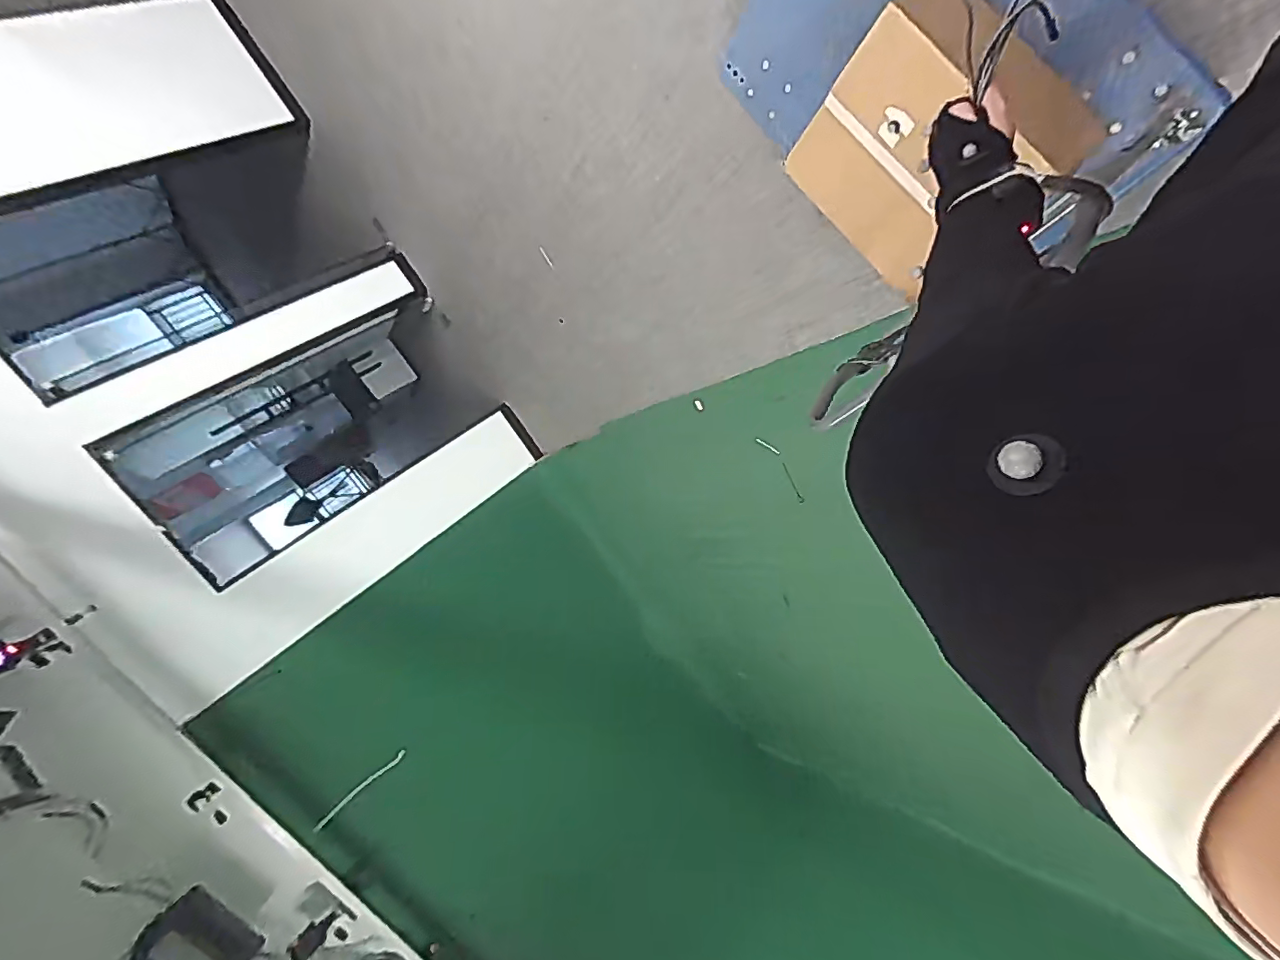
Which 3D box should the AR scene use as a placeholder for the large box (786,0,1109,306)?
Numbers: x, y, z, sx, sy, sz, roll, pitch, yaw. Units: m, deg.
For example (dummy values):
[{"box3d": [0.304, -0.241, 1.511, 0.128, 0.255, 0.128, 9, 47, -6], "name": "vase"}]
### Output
[{"box3d": [0.585, -0.636, 1.059, 0.408, 0.320, 0.320, 49, 150, 3], "name": "large box"}]
